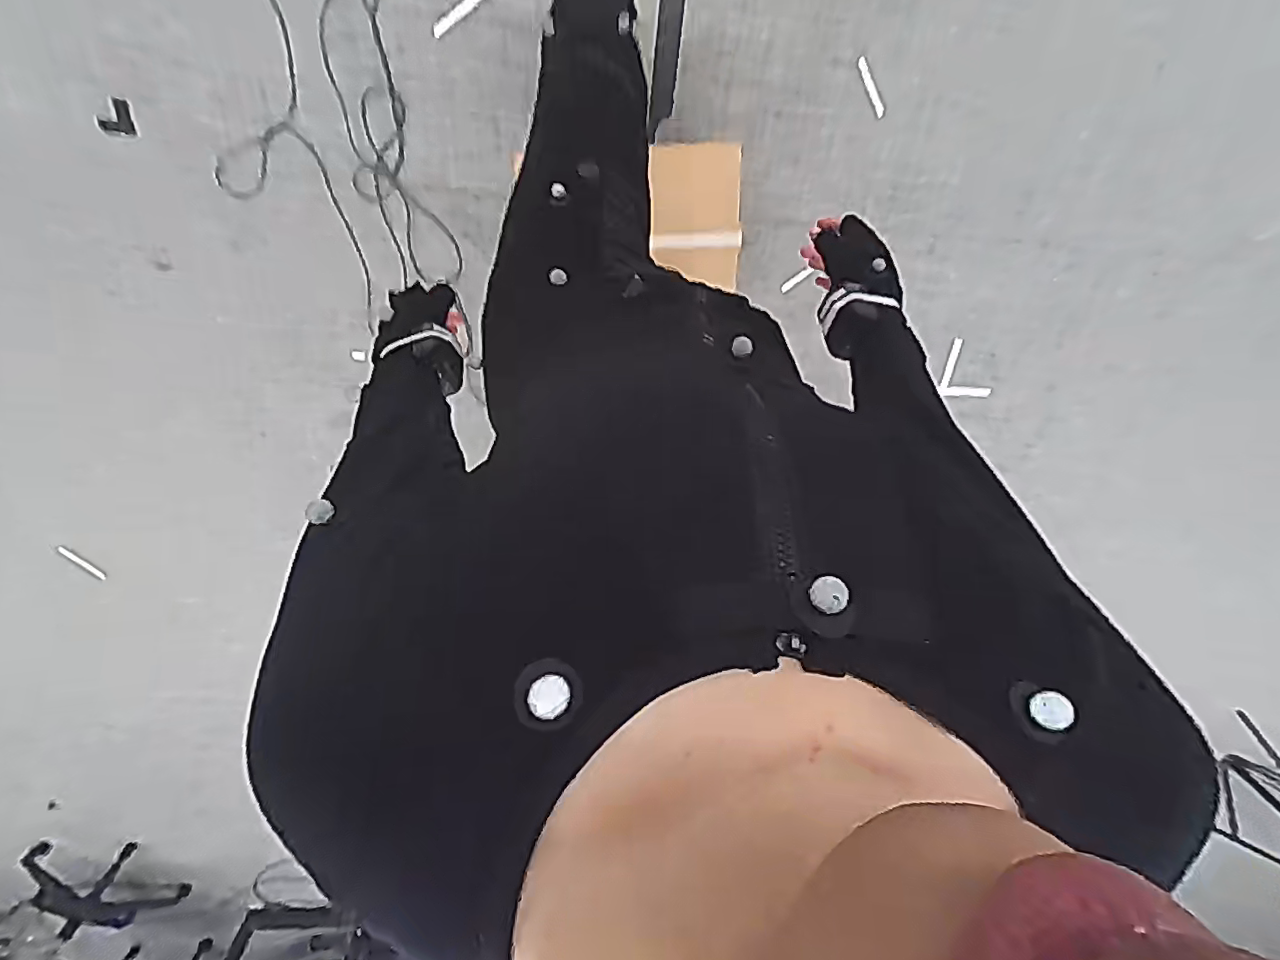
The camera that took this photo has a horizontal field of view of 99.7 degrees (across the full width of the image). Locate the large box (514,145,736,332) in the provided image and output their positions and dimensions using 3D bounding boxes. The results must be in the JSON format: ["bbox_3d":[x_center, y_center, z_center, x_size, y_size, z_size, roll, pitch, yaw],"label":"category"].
[{"bbox_3d":[-0.024,-0.518,1.153,0.408,0.320,0.320,-3,119,-1],"label":"large box"}]
